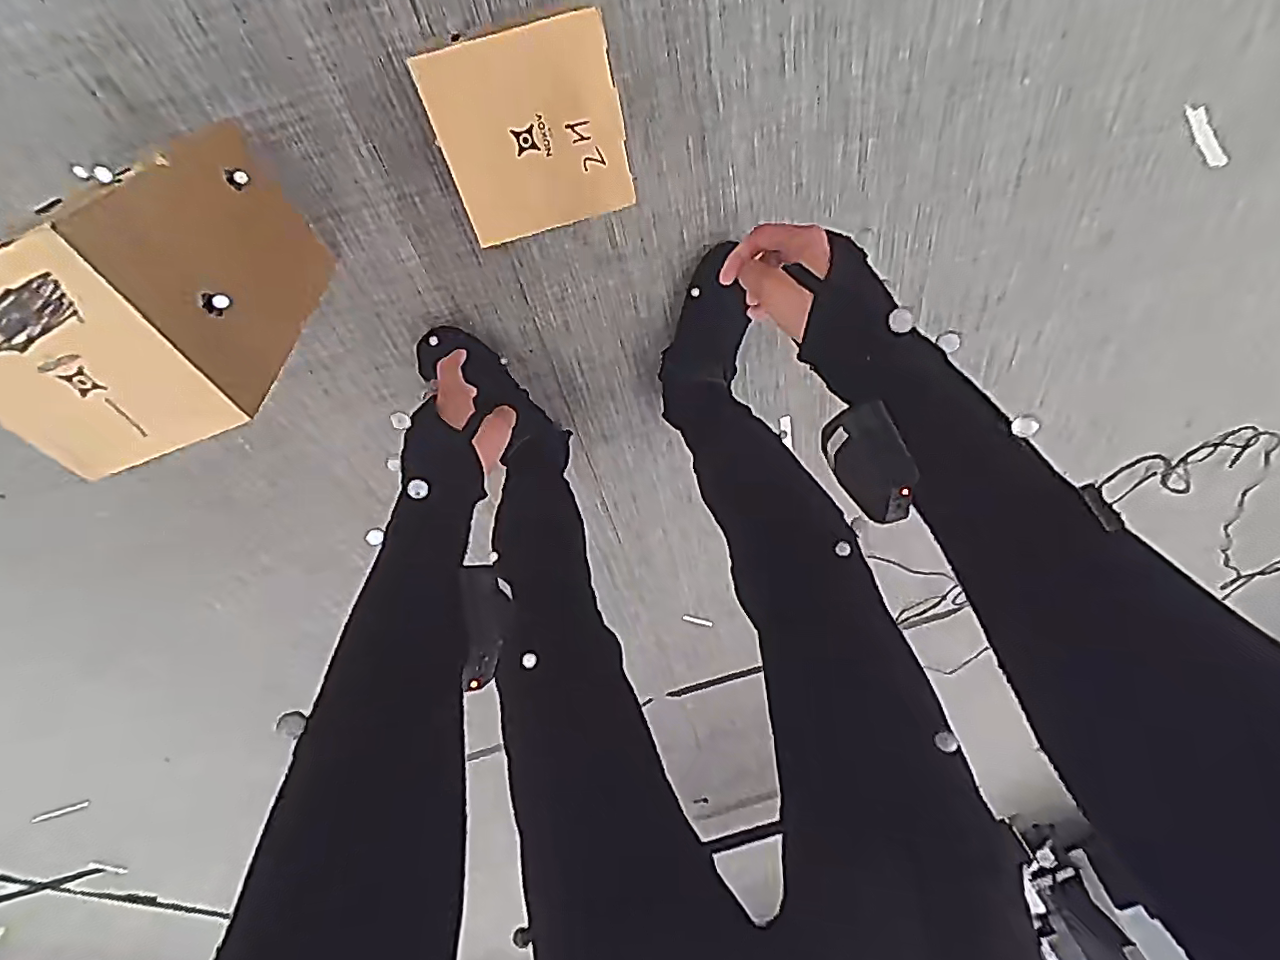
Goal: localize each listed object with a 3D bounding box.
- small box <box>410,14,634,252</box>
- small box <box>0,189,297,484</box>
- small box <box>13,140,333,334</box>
[{"bbox_3d":[-0.118,-0.372,0.578,0.179,0.176,0.168,-16,134,-2],"label":"small box"},{"bbox_3d":[-0.451,-0.133,0.478,0.168,0.176,0.179,-19,134,3],"label":"small box"},{"bbox_3d":[-0.478,-0.246,0.593,0.168,0.176,0.179,-21,134,4],"label":"small box"}]
